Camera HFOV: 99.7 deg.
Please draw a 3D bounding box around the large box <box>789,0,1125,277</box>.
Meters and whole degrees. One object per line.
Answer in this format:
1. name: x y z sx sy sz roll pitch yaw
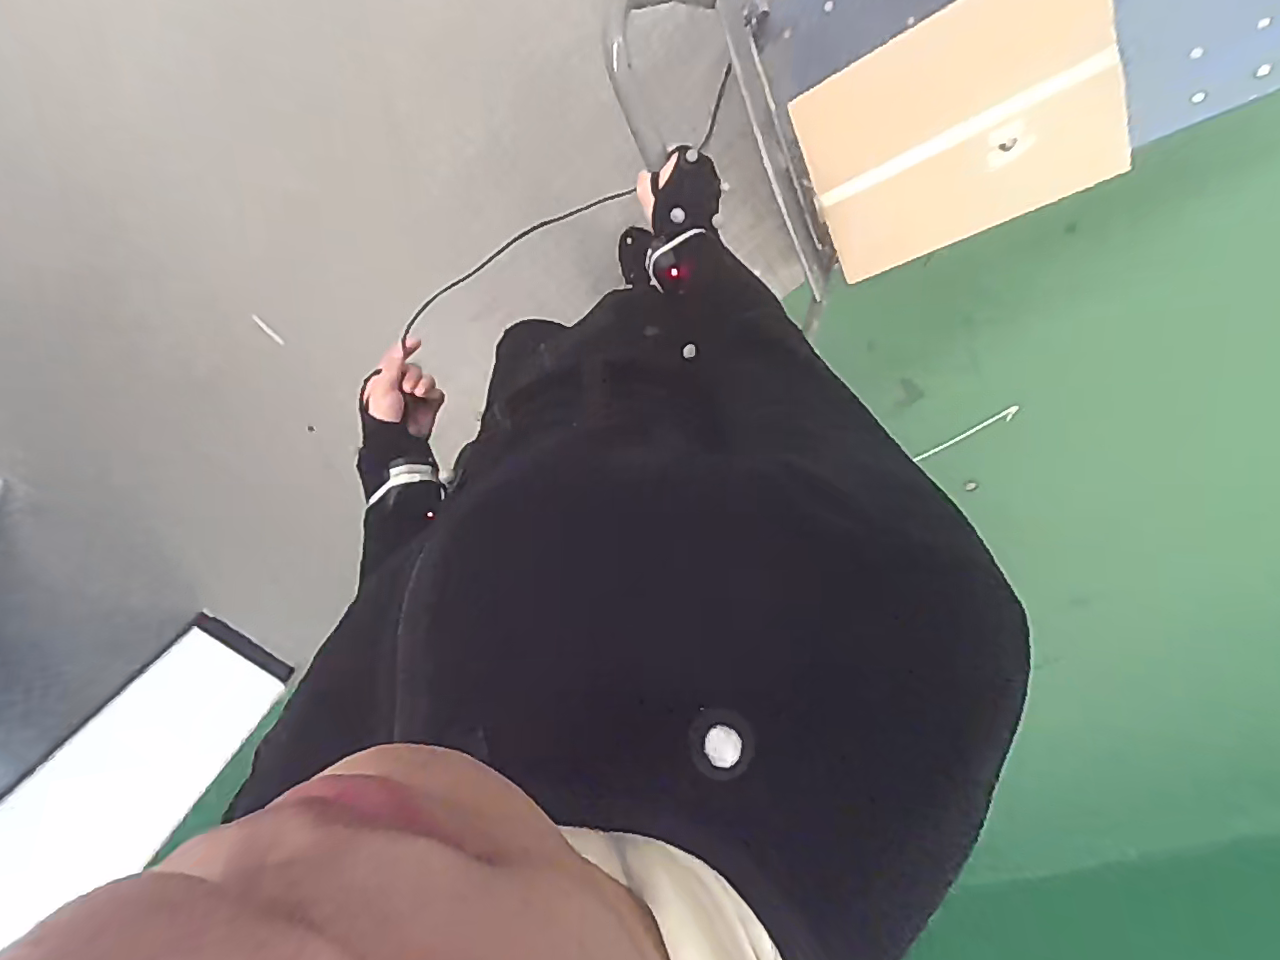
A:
1. large box: 0.510 -0.614 0.935 0.408 0.320 0.320 -16 118 29
